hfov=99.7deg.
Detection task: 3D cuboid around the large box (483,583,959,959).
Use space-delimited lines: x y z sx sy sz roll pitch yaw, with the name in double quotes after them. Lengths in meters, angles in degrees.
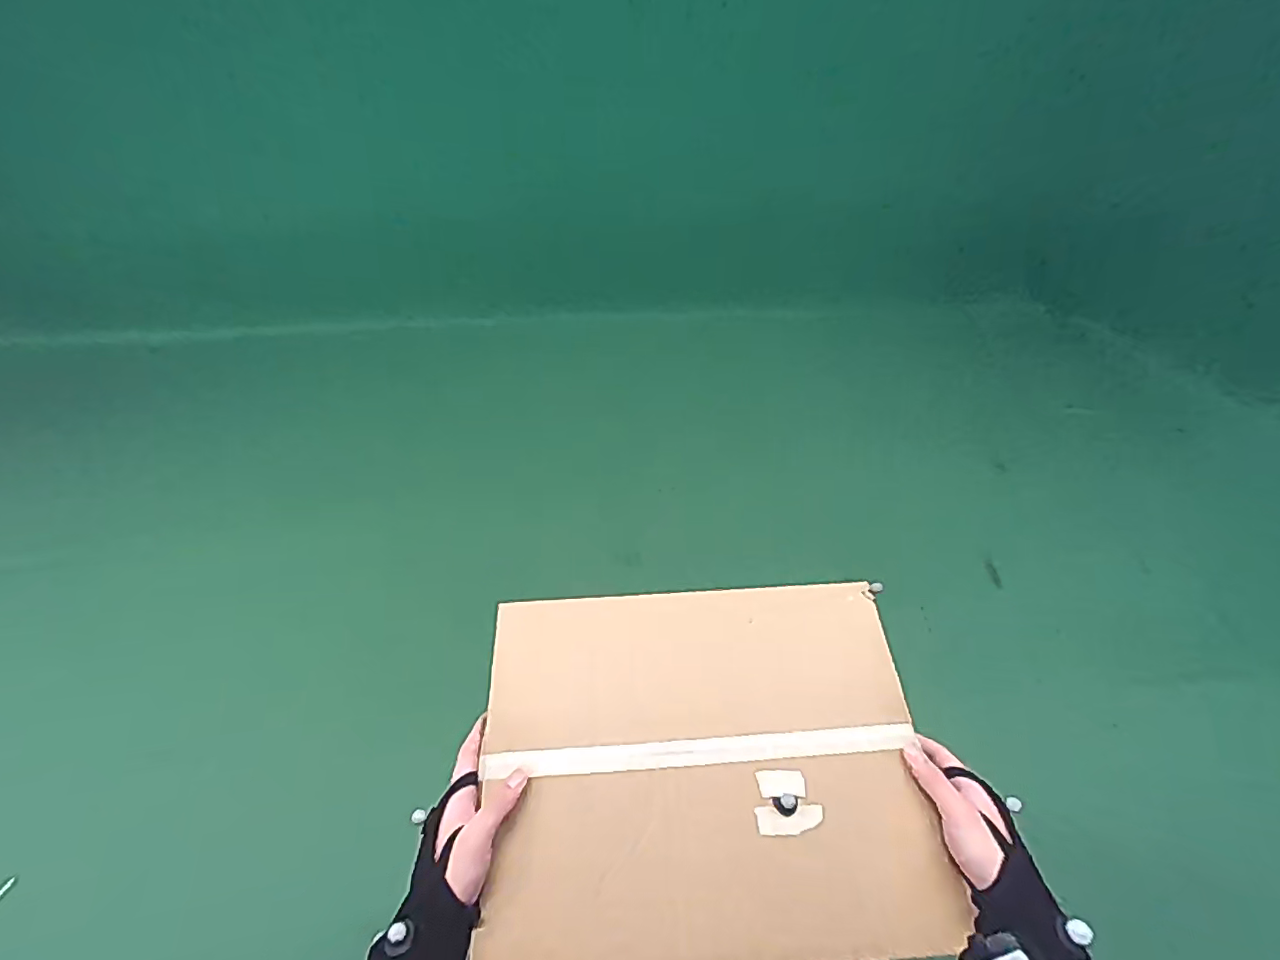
0.055 0.339 0.642 0.408 0.320 0.320 -3 57 -3 "large box"
